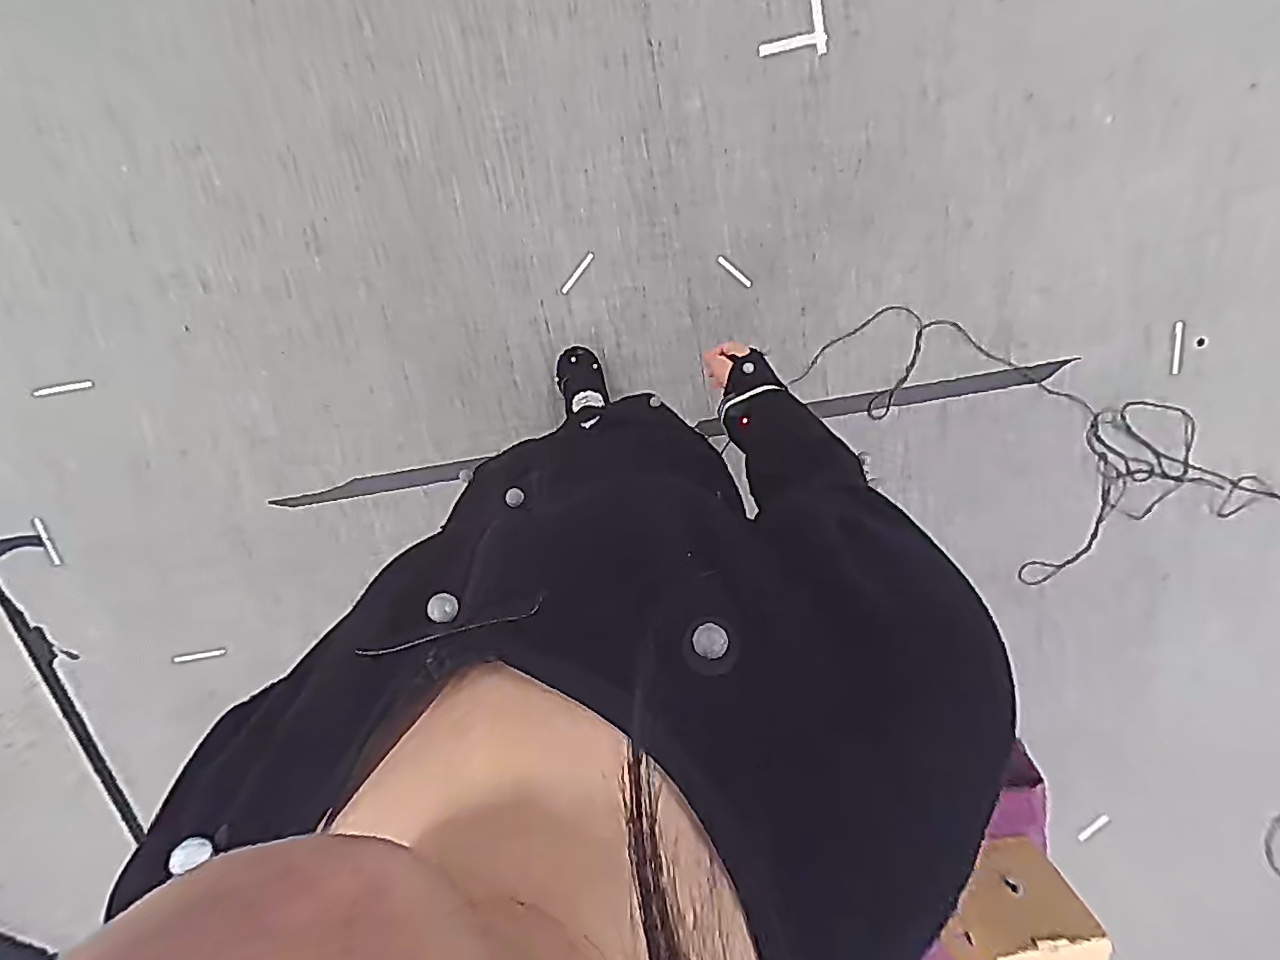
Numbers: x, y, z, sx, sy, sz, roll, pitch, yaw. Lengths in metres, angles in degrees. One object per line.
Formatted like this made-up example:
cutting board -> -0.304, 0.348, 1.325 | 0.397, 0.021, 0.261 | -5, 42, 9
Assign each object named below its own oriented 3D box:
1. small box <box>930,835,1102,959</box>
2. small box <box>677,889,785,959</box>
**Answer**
small box -> 0.592, 0.710, 0.873 | 0.168, 0.176, 0.179 | -9, 105, 1
small box -> 0.160, 0.828, 0.893 | 0.168, 0.176, 0.179 | -11, 106, 1
